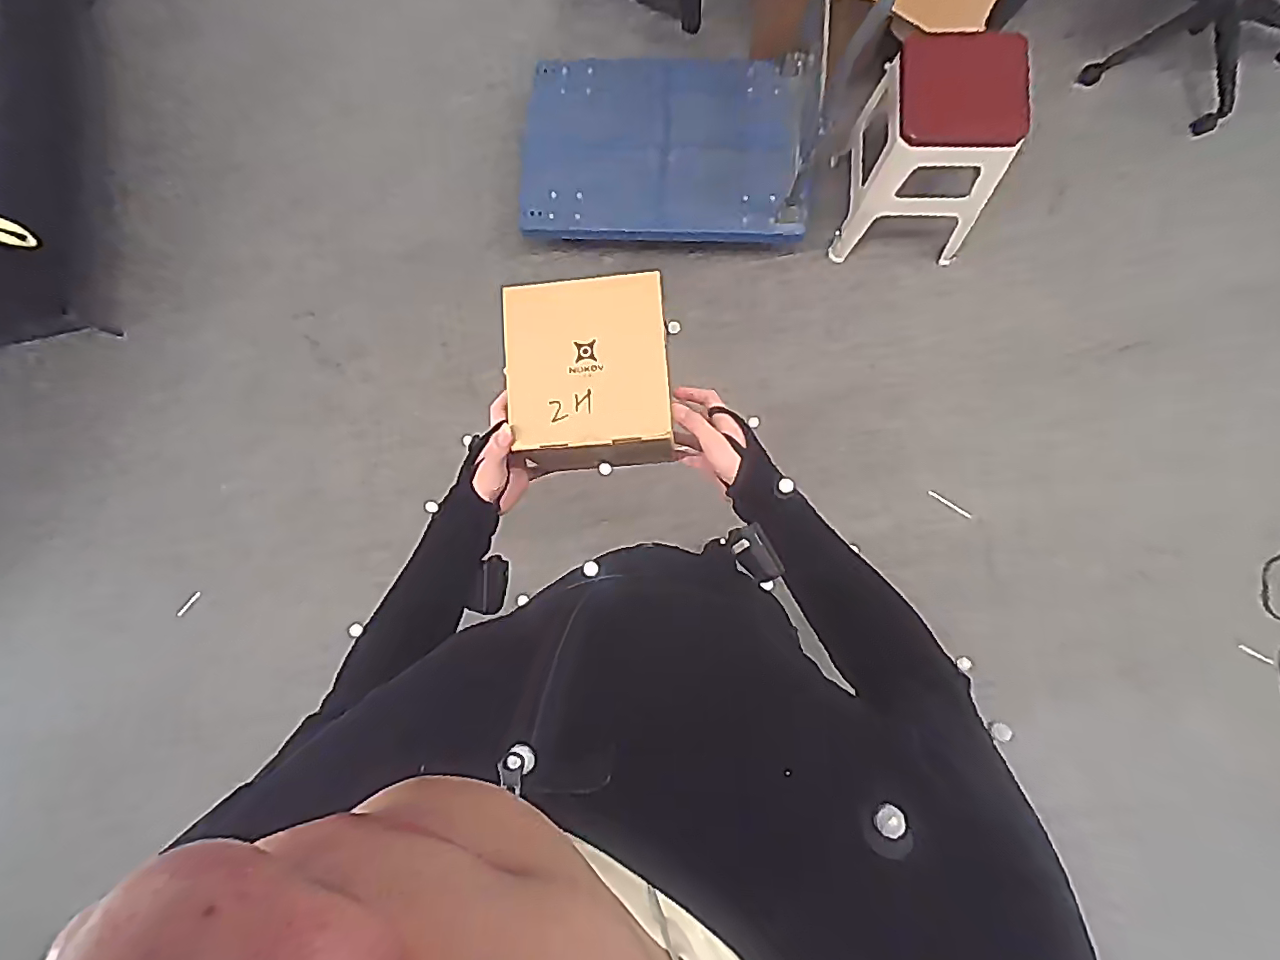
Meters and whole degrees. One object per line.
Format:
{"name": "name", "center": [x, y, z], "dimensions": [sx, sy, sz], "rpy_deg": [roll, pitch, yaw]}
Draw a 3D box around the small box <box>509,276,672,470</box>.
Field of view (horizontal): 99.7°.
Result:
{"name": "small box", "center": [-0.049, -0.113, 0.636], "dimensions": [0.168, 0.176, 0.179], "rpy_deg": [-4, 84, 4]}
